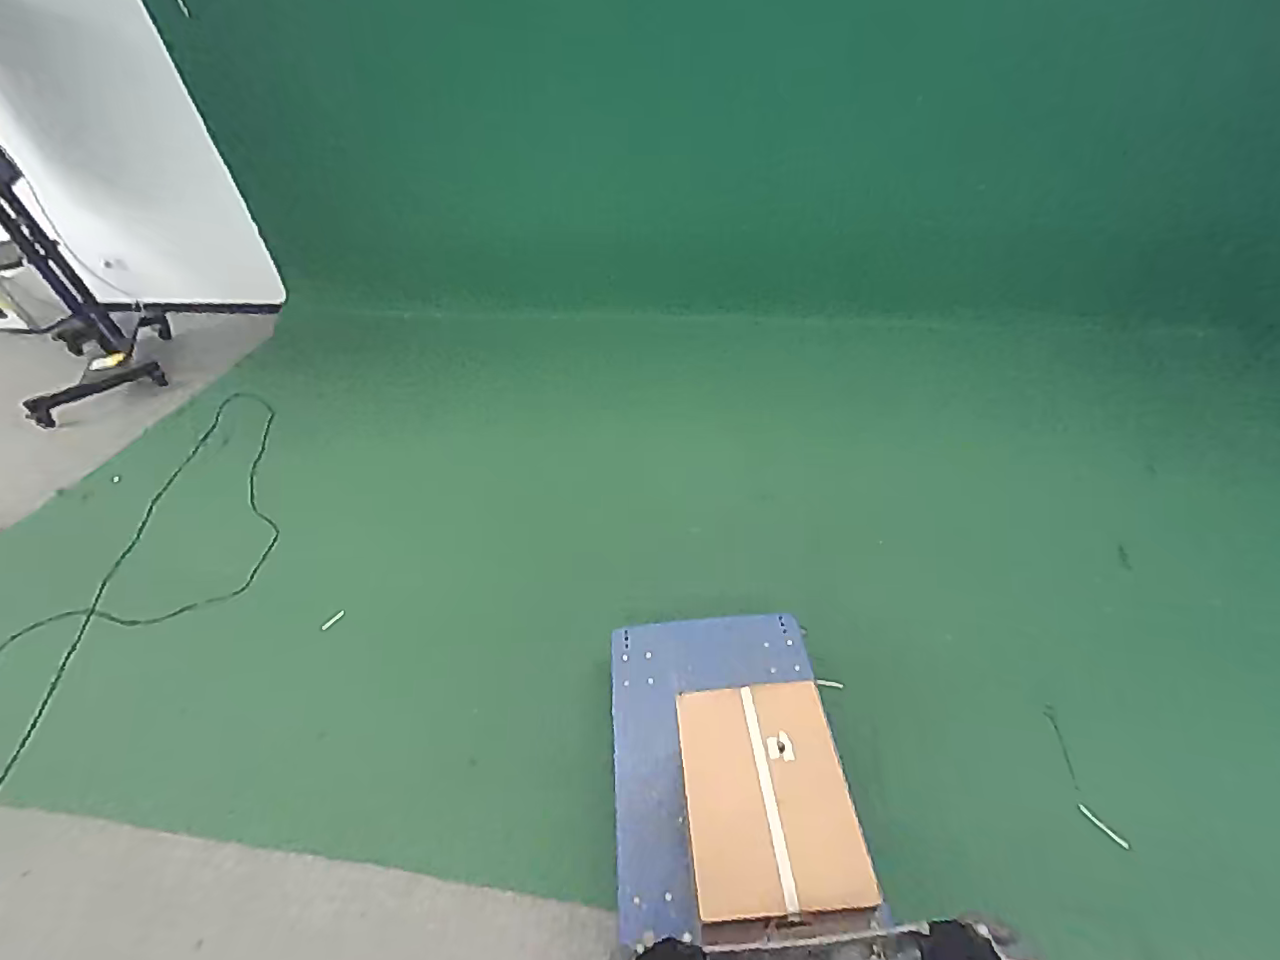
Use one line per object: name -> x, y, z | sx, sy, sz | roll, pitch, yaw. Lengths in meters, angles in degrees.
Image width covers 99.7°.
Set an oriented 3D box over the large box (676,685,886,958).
large box -> 0.259, 0.709, 1.144 | 0.320, 0.320, 0.408 | -5, 41, 0
